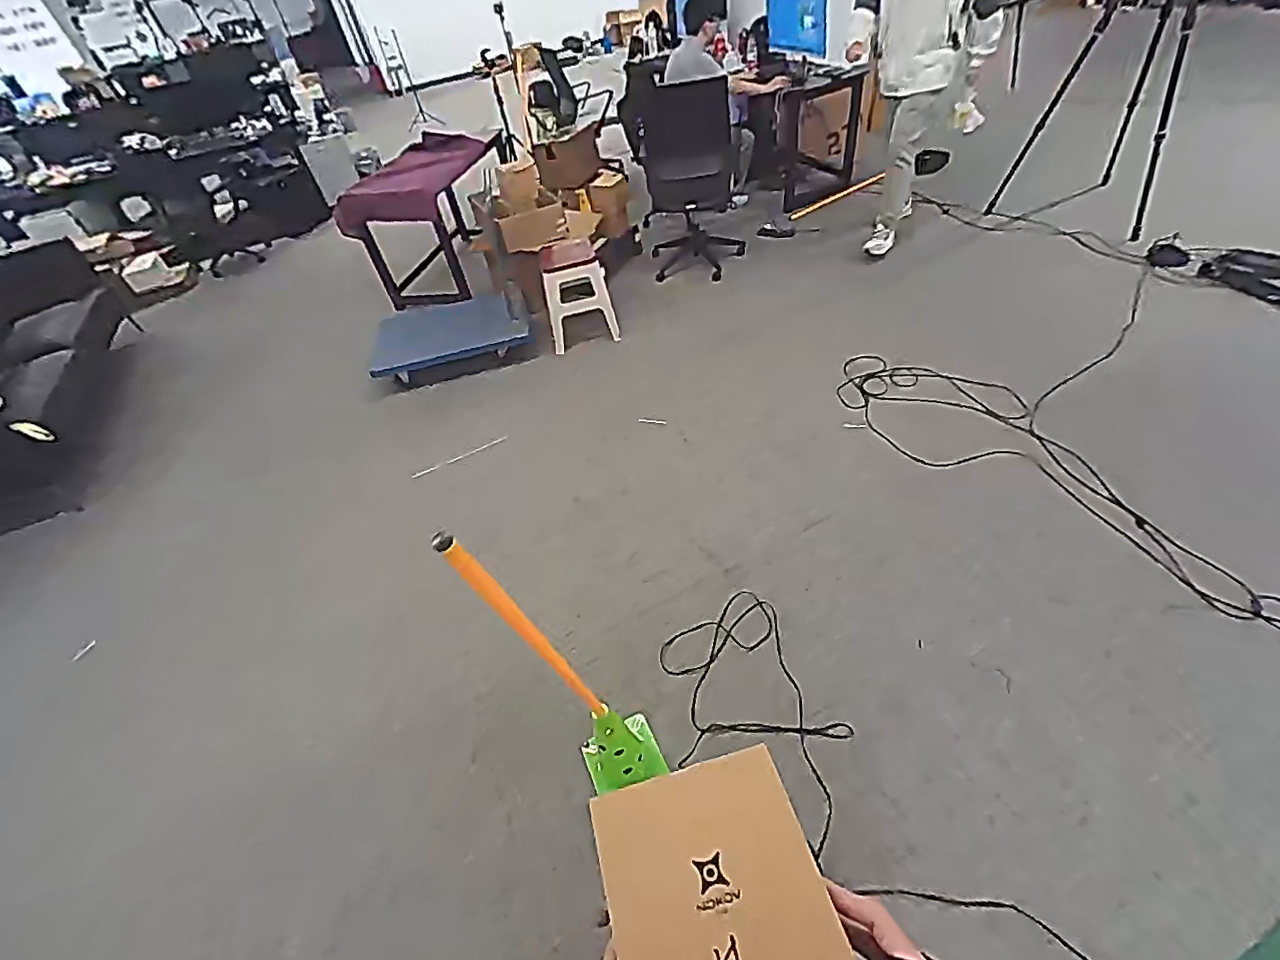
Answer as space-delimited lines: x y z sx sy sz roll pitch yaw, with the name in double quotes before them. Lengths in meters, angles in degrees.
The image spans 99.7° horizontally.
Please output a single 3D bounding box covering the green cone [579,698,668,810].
"green cone" -0.069 0.648 1.363 0.202 0.368 0.200 -23 47 -13
